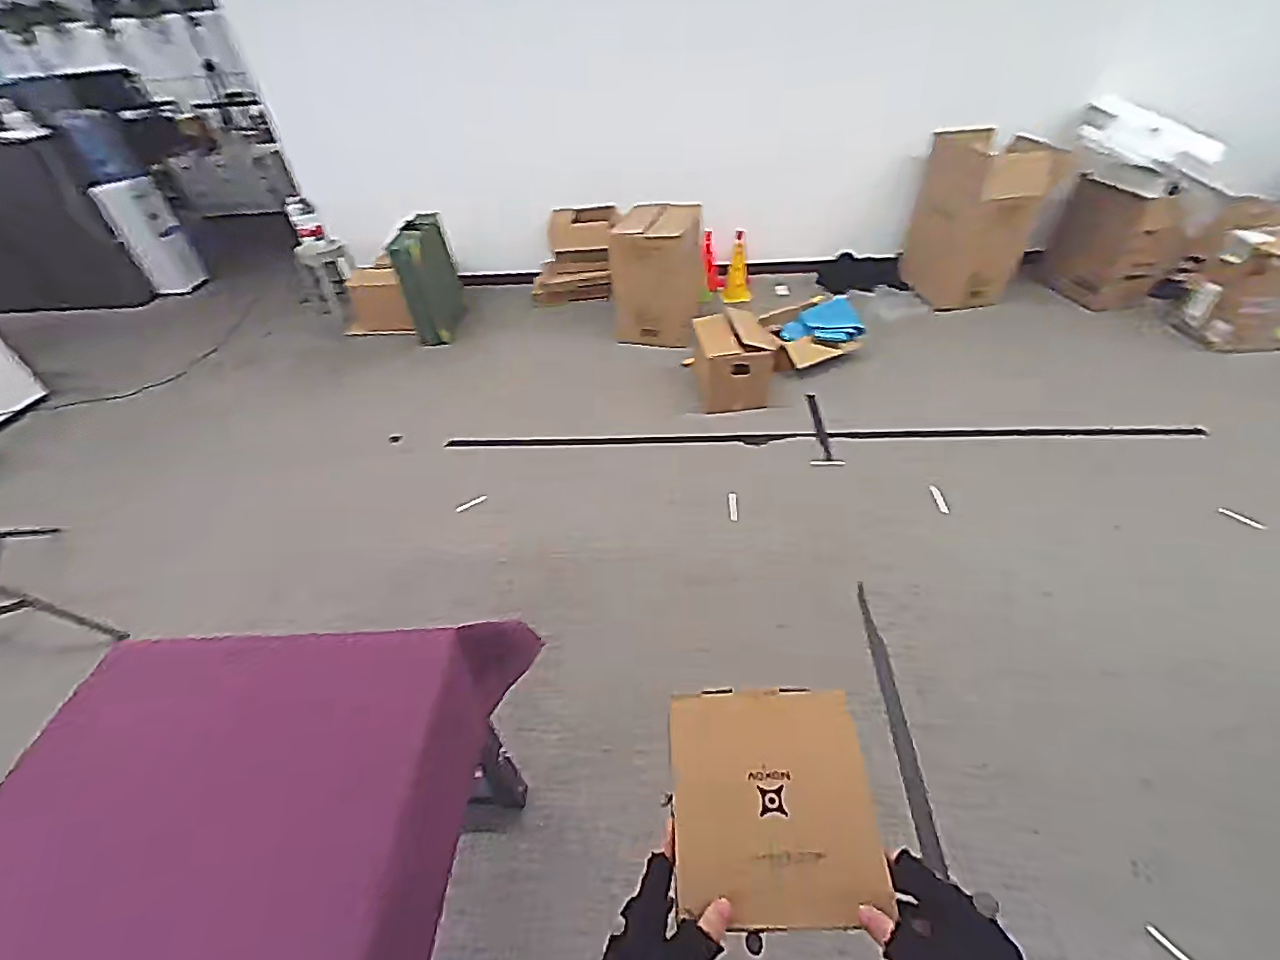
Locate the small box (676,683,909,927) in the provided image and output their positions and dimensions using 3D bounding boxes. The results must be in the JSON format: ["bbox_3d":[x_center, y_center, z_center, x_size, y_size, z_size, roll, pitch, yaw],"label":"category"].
[{"bbox_3d":[0.120,0.310,0.513,0.168,0.176,0.179,-2,51,2],"label":"small box"}]
